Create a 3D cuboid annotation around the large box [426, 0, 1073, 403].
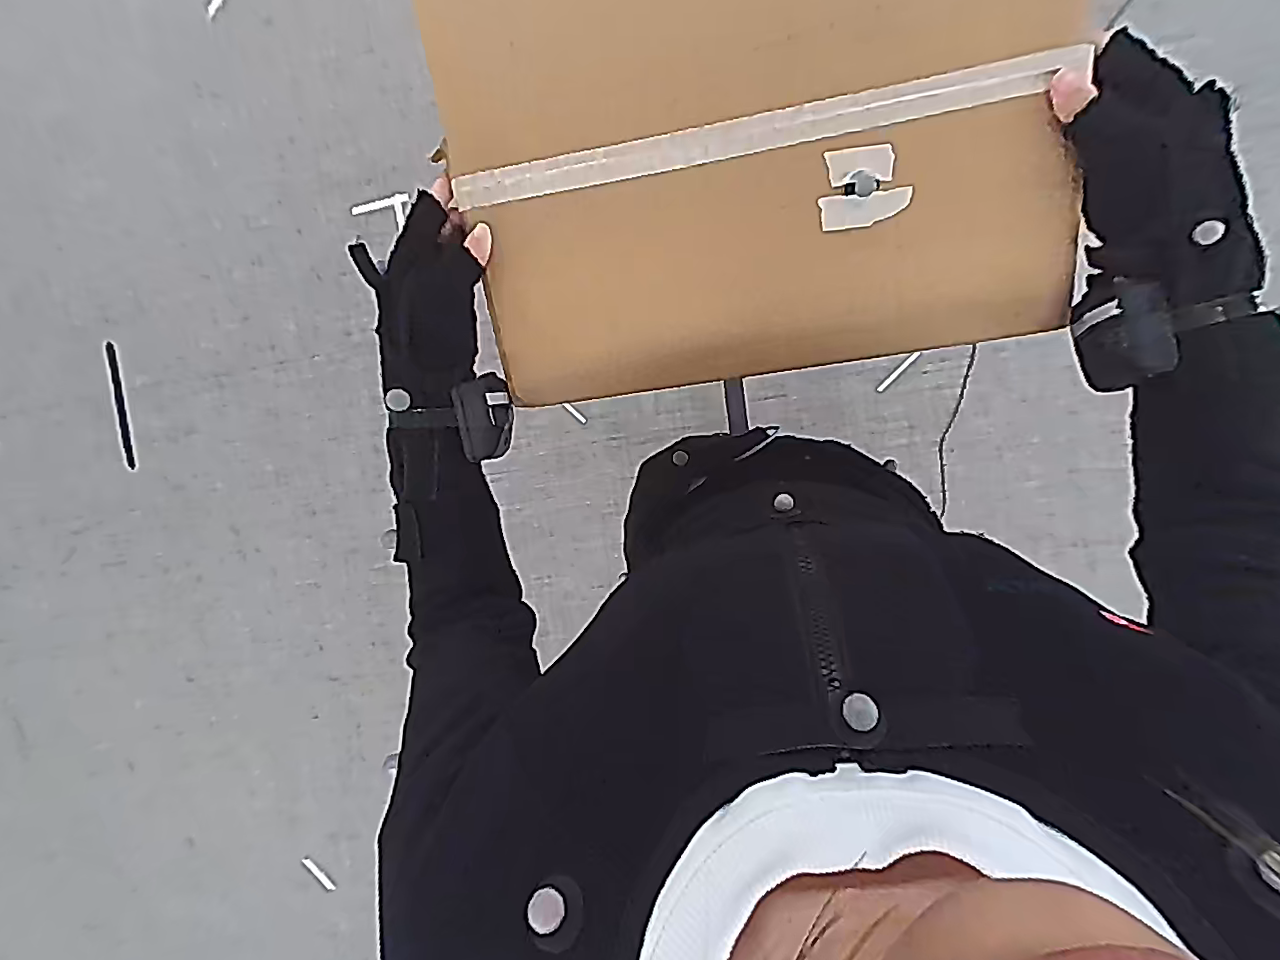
[{"bbox_3d":[0.084,-0.281,0.507,0.408,0.320,0.320,-8,109,7],"label":"large box"}]
